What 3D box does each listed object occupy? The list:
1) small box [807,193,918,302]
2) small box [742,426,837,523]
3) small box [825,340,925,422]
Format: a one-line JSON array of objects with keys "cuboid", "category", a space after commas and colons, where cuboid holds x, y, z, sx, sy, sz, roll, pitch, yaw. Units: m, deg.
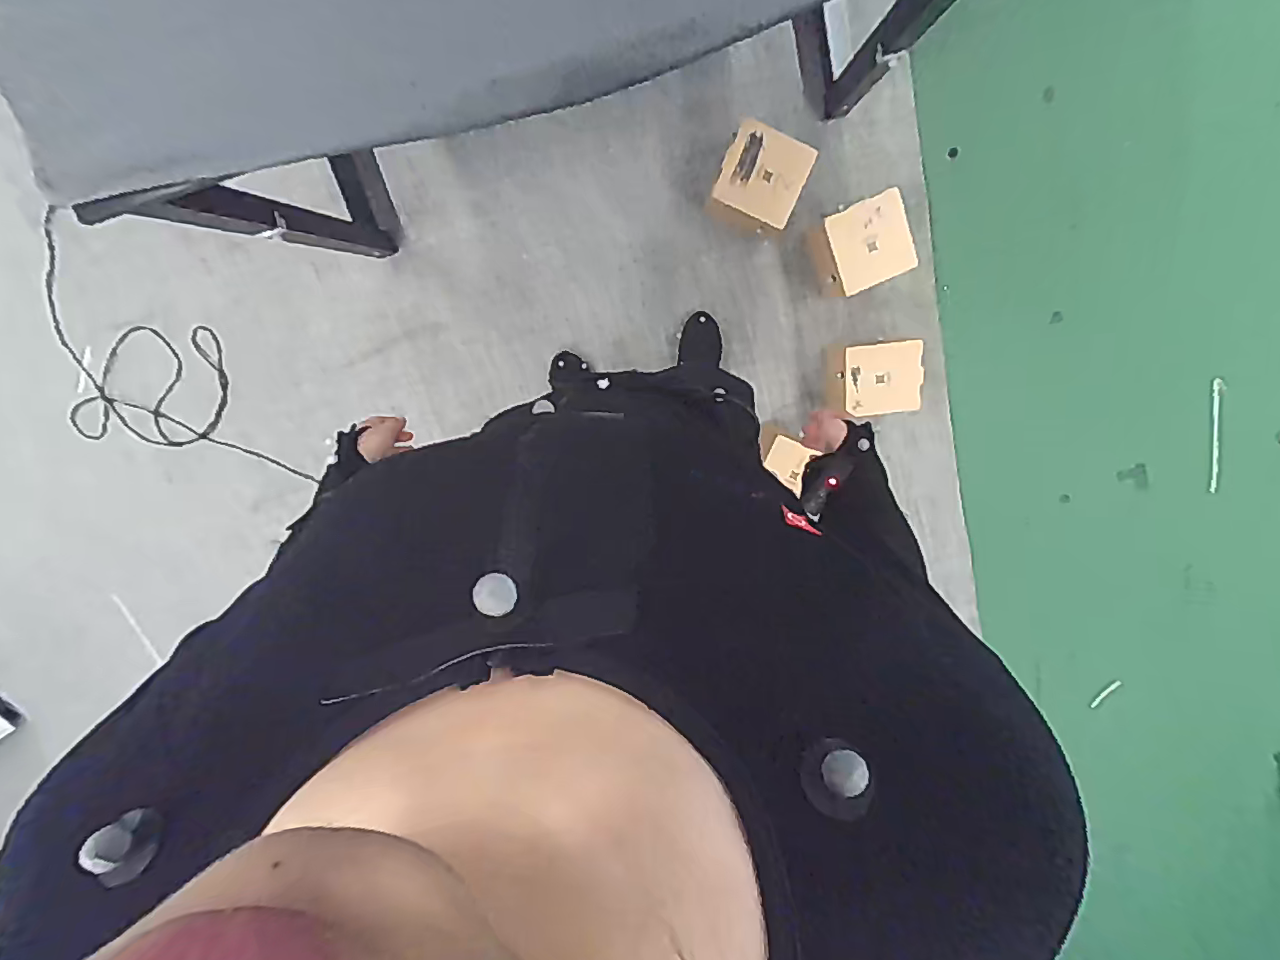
[{"cuboid": [0.504, -0.524, 1.242, 0.168, 0.176, 0.179, -22, 105, 8], "category": "small box"}, {"cuboid": [0.377, -0.019, 1.404, 0.168, 0.176, 0.179, 22, 106, -5], "category": "small box"}, {"cuboid": [0.569, -0.247, 1.325, 0.179, 0.176, 0.168, -5, 108, 4], "category": "small box"}]
